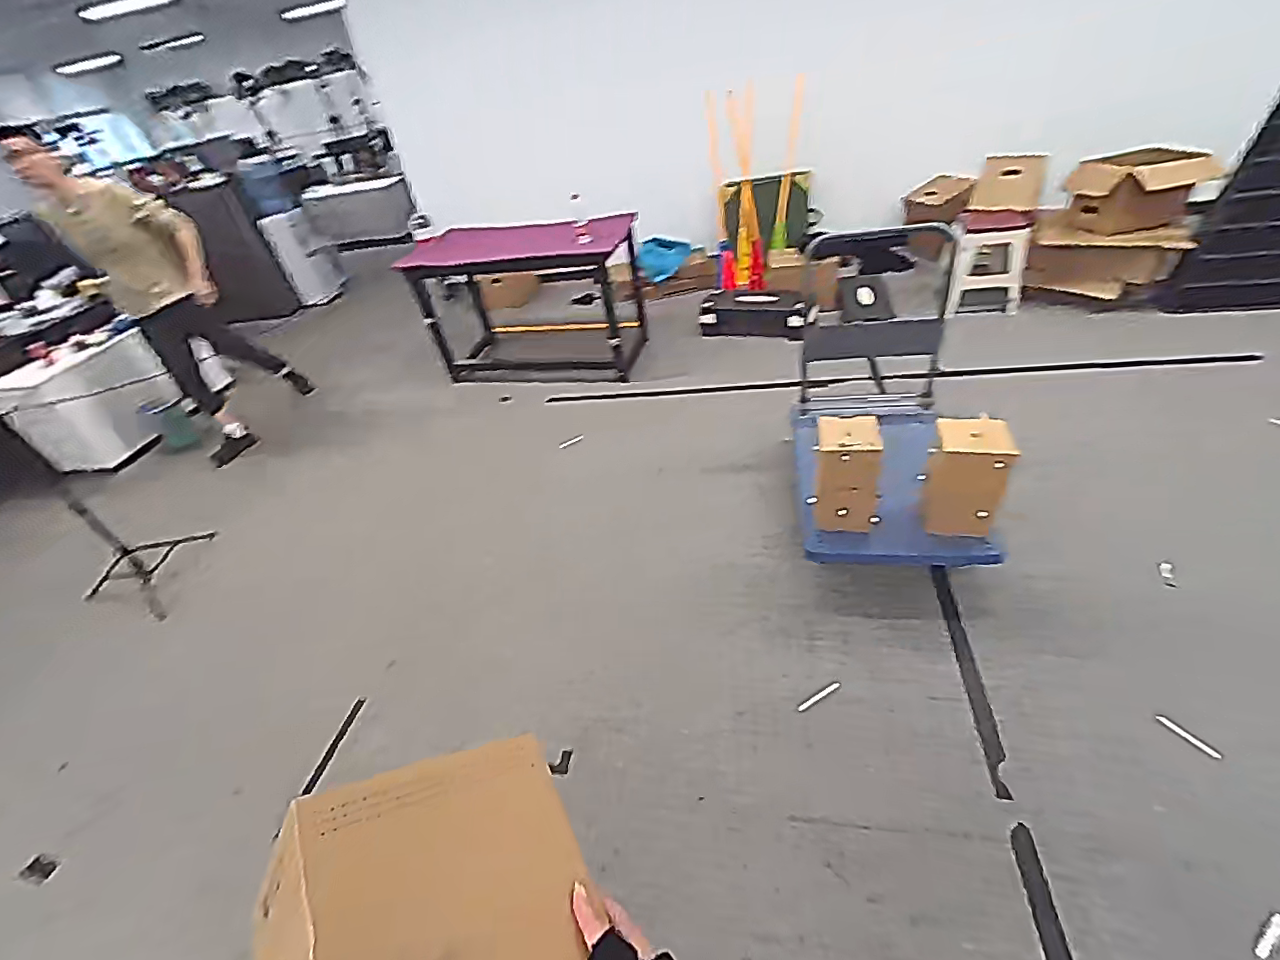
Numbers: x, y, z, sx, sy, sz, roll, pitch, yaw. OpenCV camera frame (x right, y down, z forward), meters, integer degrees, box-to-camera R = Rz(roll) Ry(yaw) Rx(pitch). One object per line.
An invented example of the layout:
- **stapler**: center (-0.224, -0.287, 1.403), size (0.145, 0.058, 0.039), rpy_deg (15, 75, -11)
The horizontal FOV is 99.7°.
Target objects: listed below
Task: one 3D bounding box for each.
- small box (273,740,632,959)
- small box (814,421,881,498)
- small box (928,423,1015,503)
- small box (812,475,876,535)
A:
- **small box**: center (-0.144, 0.319, 0.383), size (0.179, 0.168, 0.176), rpy_deg (7, 36, -41)
- **small box**: center (0.626, -0.065, 1.651), size (0.168, 0.176, 0.179), rpy_deg (0, 39, 14)
- **small box**: center (0.944, -0.049, 1.561), size (0.179, 0.176, 0.168), rpy_deg (4, 41, 16)
- **small box**: center (0.654, 0.063, 1.751), size (0.179, 0.176, 0.168), rpy_deg (2, 40, 16)
